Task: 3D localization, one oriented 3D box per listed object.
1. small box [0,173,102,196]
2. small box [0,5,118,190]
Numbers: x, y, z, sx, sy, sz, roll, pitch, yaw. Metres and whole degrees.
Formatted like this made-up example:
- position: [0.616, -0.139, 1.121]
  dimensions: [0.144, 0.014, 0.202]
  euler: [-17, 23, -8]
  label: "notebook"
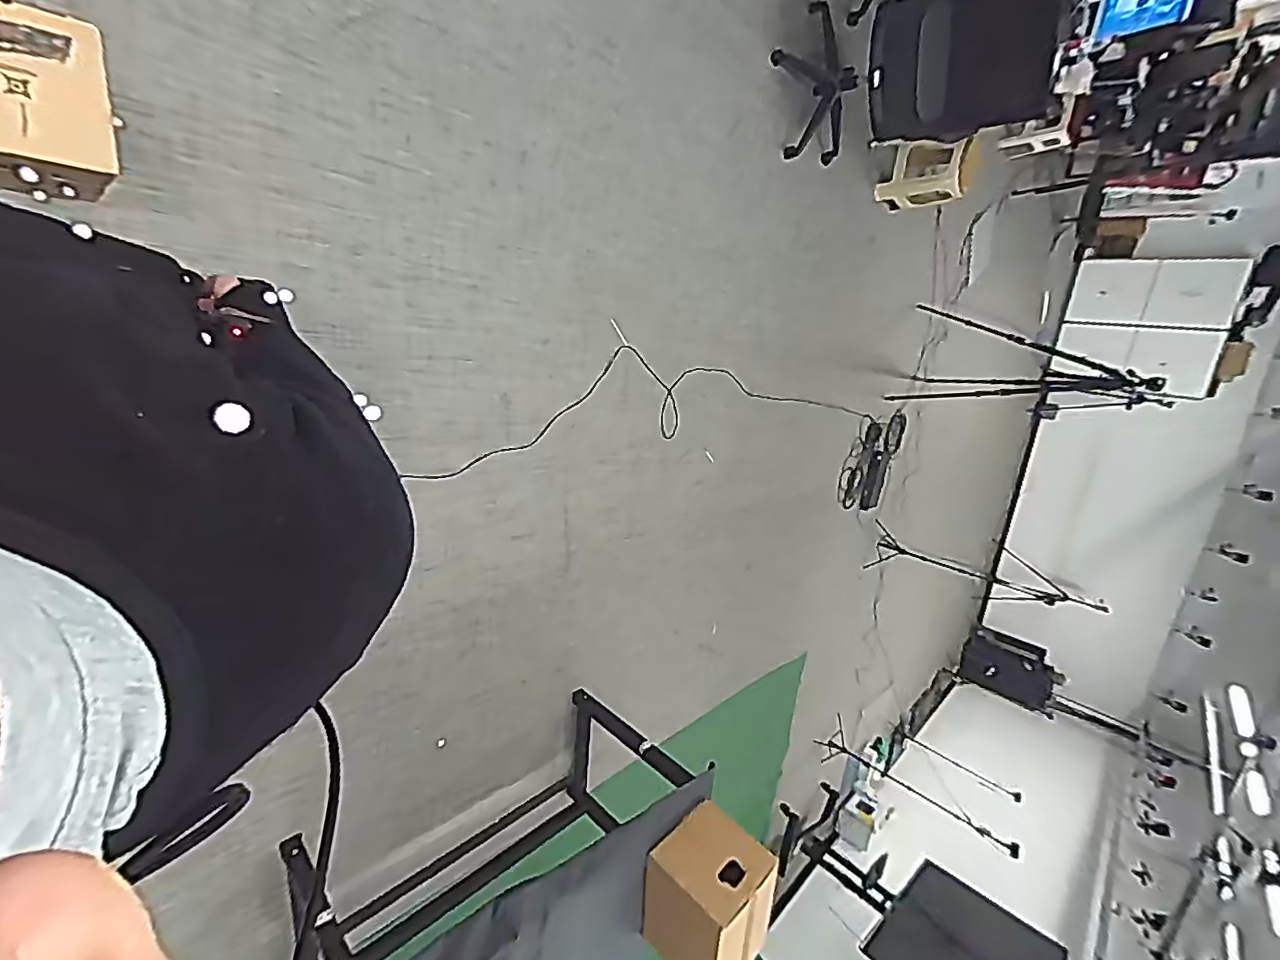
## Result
- position: [-0.937, -0.541, 0.812]
  dimensions: [0.168, 0.176, 0.179]
  euler: [-12, 113, -45]
  label: "small box"
- position: [-0.817, -0.497, 0.708]
  dimensions: [0.168, 0.176, 0.179]
  euler: [-10, 115, -45]
  label: "small box"
